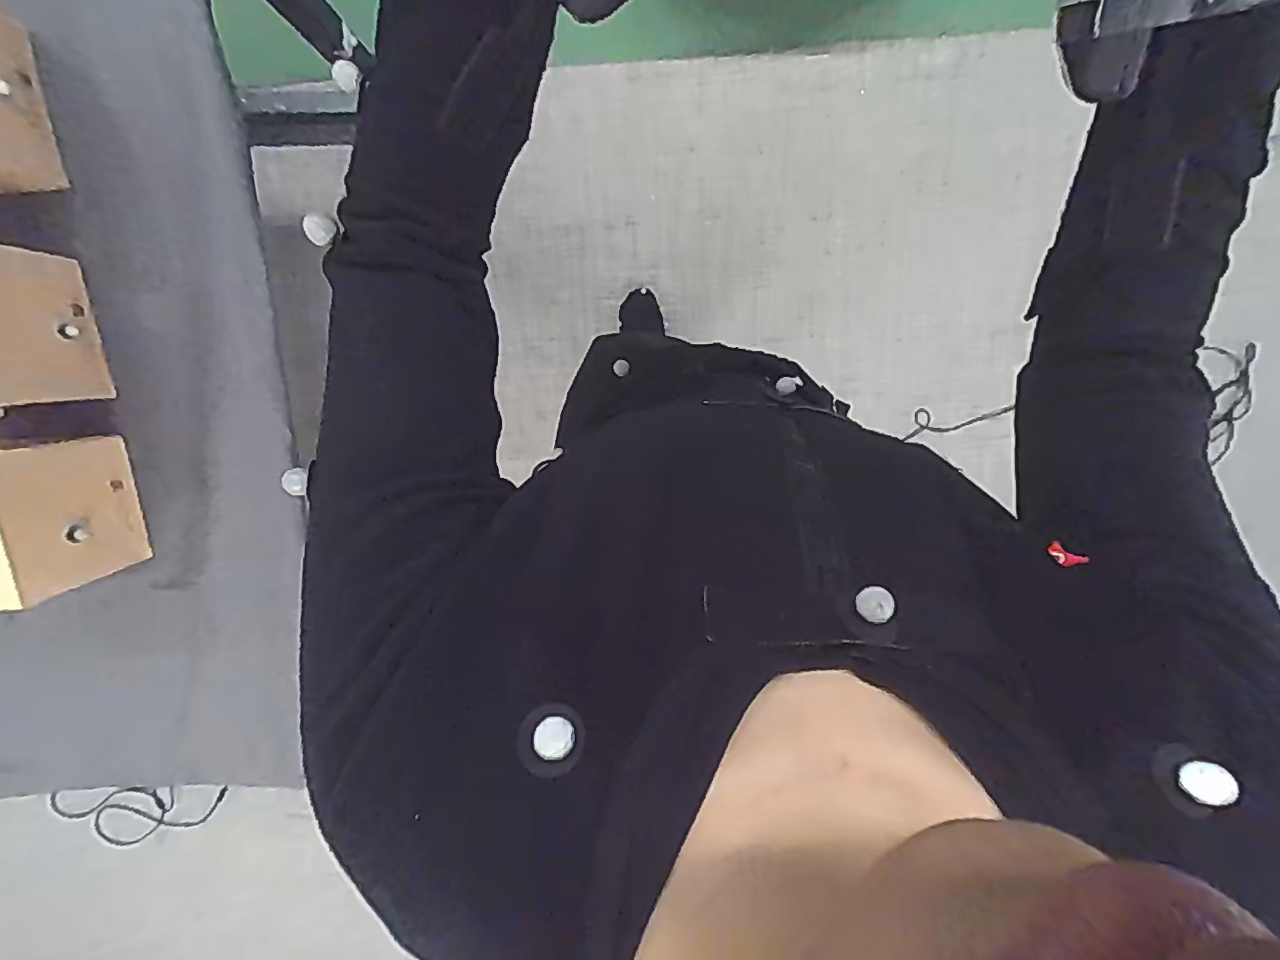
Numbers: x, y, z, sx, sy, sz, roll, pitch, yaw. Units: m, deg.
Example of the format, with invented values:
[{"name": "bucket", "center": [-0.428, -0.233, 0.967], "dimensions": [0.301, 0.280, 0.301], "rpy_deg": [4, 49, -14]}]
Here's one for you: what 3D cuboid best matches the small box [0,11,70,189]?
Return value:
[{"name": "small box", "center": [-0.748, -0.399, 0.535], "dimensions": [0.179, 0.176, 0.168], "rpy_deg": [-3, 103, 0]}]
